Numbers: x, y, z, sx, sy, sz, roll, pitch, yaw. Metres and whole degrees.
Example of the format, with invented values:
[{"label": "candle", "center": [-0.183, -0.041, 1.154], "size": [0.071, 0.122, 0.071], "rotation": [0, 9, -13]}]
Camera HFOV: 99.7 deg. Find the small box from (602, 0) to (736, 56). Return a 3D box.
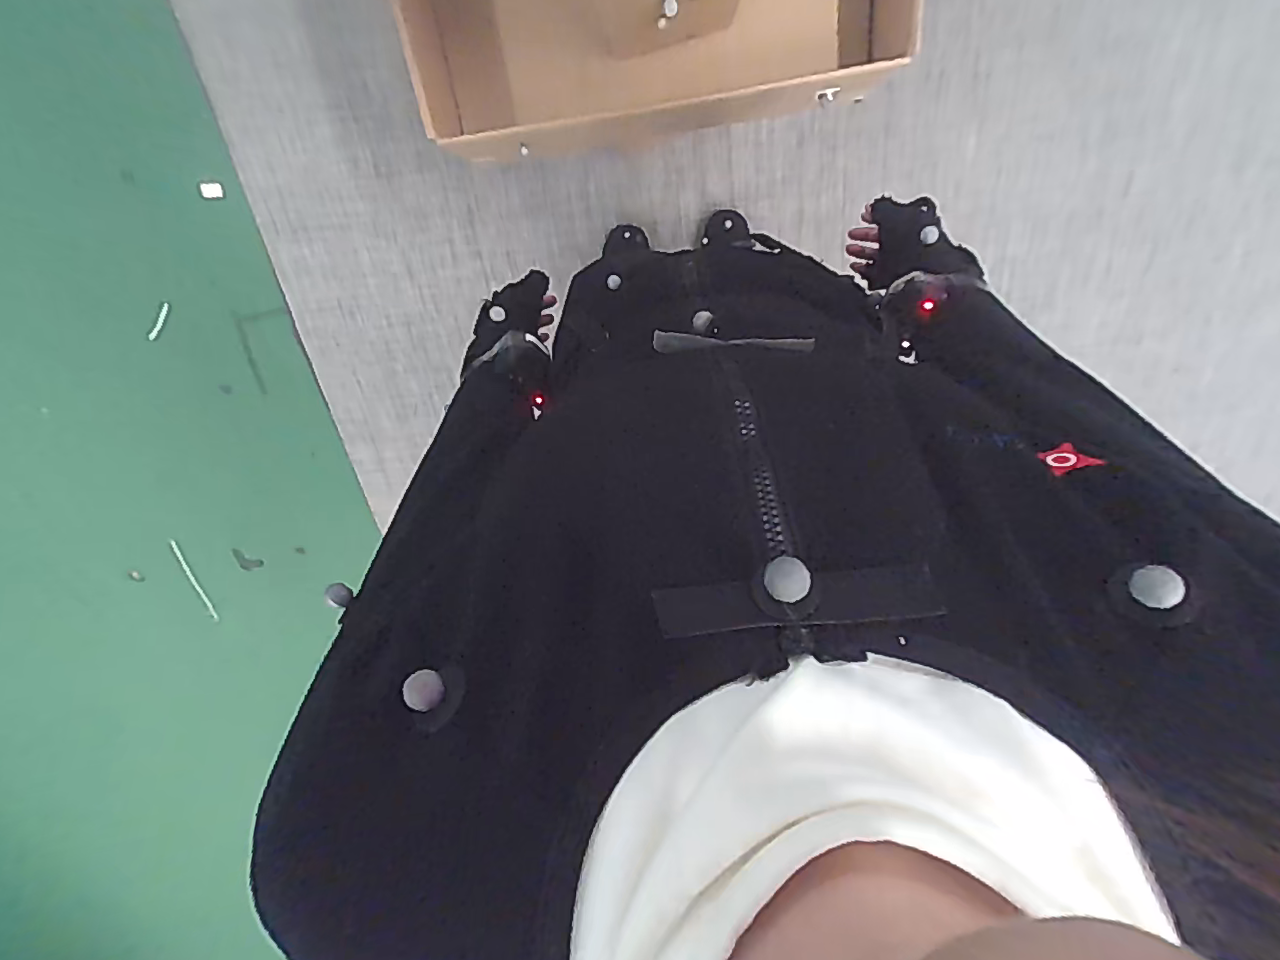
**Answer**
[{"label": "small box", "center": [0.023, -0.656, 0.650], "size": [0.168, 0.176, 0.179], "rotation": [-10, 115, 9]}]
